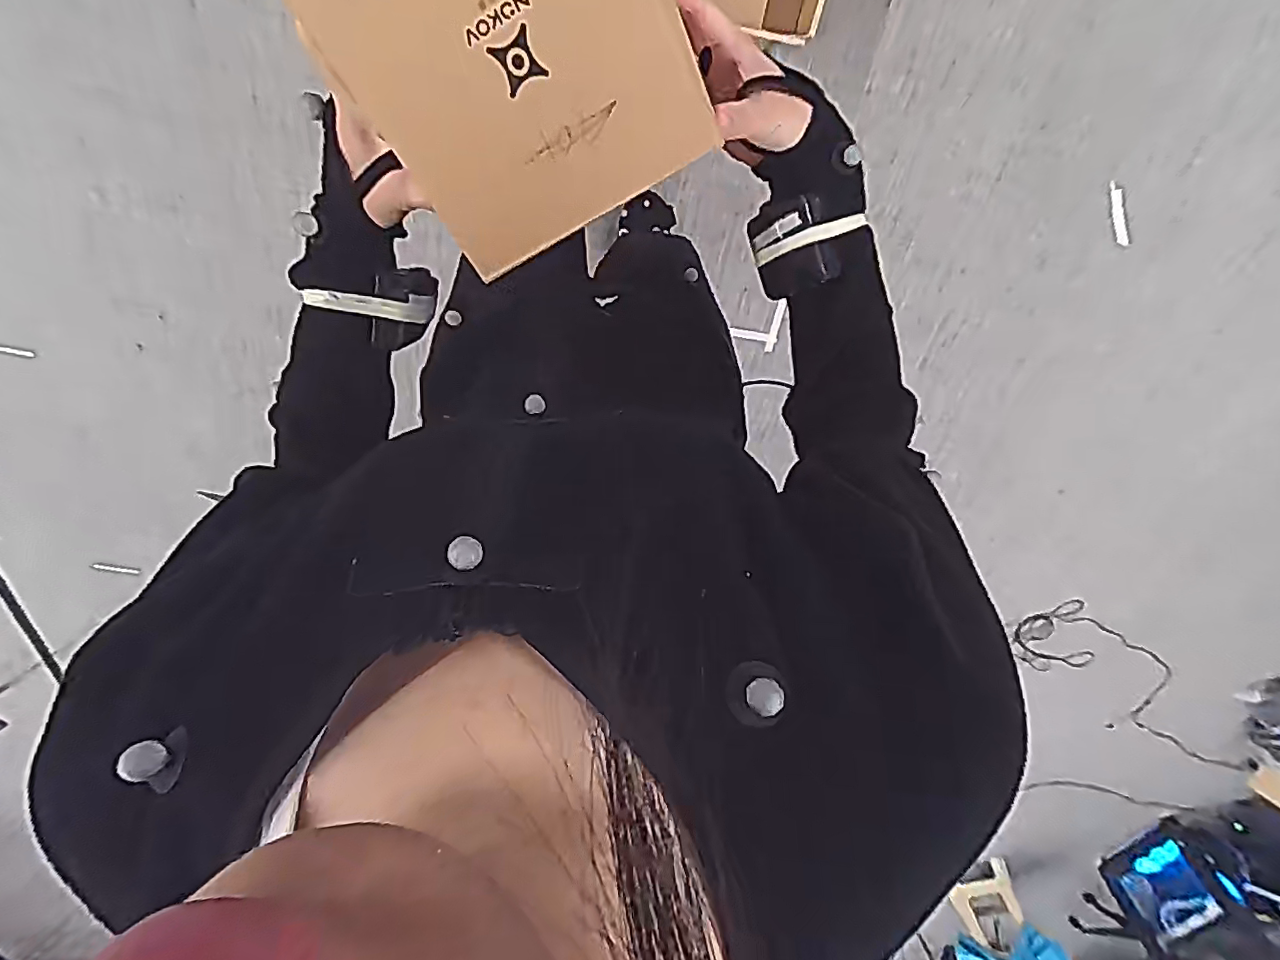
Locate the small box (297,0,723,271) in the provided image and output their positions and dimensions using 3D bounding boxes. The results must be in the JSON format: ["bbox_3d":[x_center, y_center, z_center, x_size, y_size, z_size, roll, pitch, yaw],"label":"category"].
[{"bbox_3d":[-0.070,-0.267,0.328,0.168,0.176,0.179,-24,129,13],"label":"small box"}]
